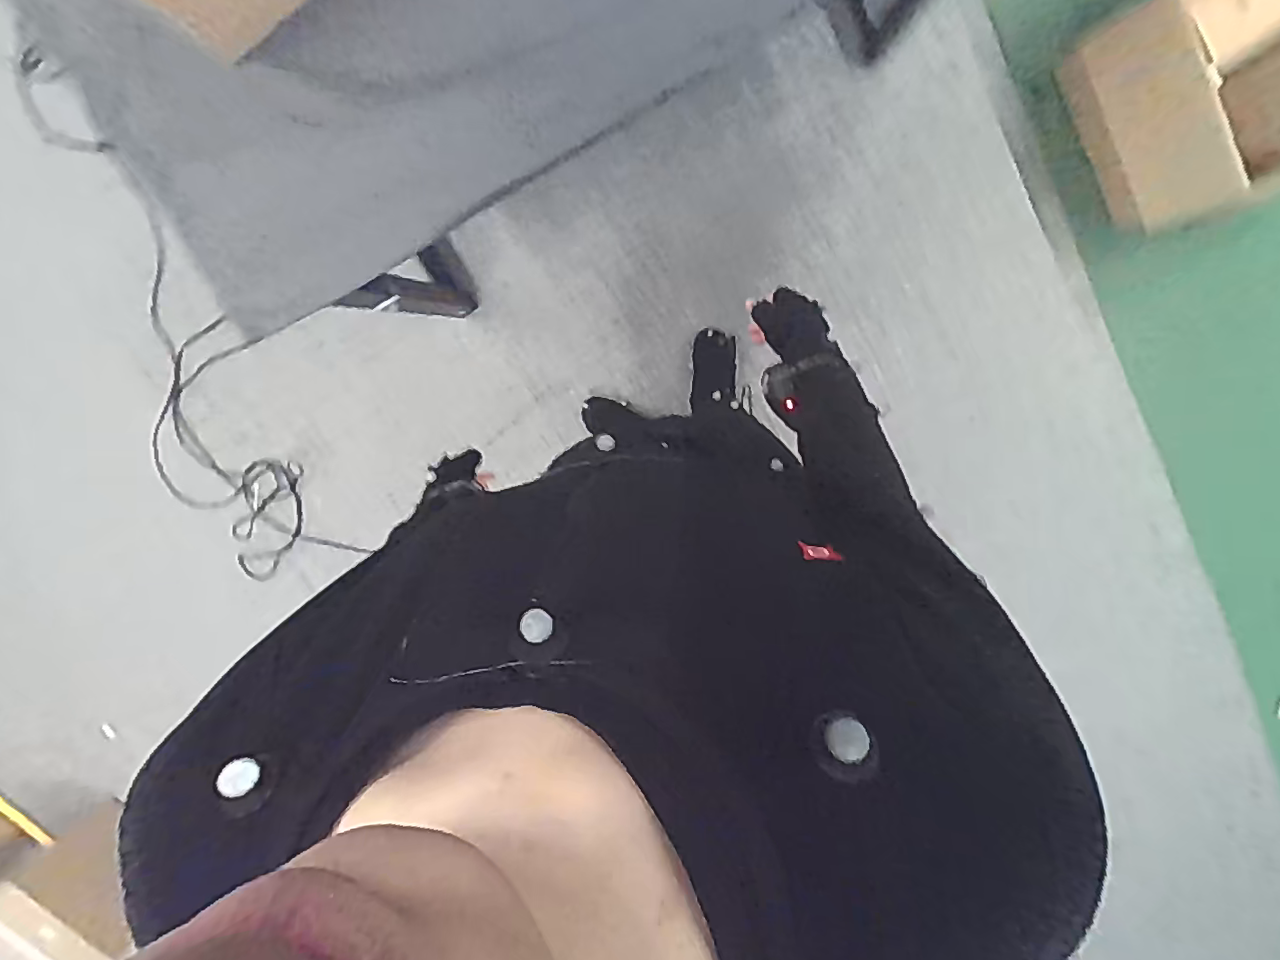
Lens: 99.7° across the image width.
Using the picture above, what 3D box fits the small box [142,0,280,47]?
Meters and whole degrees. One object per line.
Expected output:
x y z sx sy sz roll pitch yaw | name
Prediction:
-0.460 -0.577 0.517 0.179 0.176 0.168 -32 102 9 | small box
